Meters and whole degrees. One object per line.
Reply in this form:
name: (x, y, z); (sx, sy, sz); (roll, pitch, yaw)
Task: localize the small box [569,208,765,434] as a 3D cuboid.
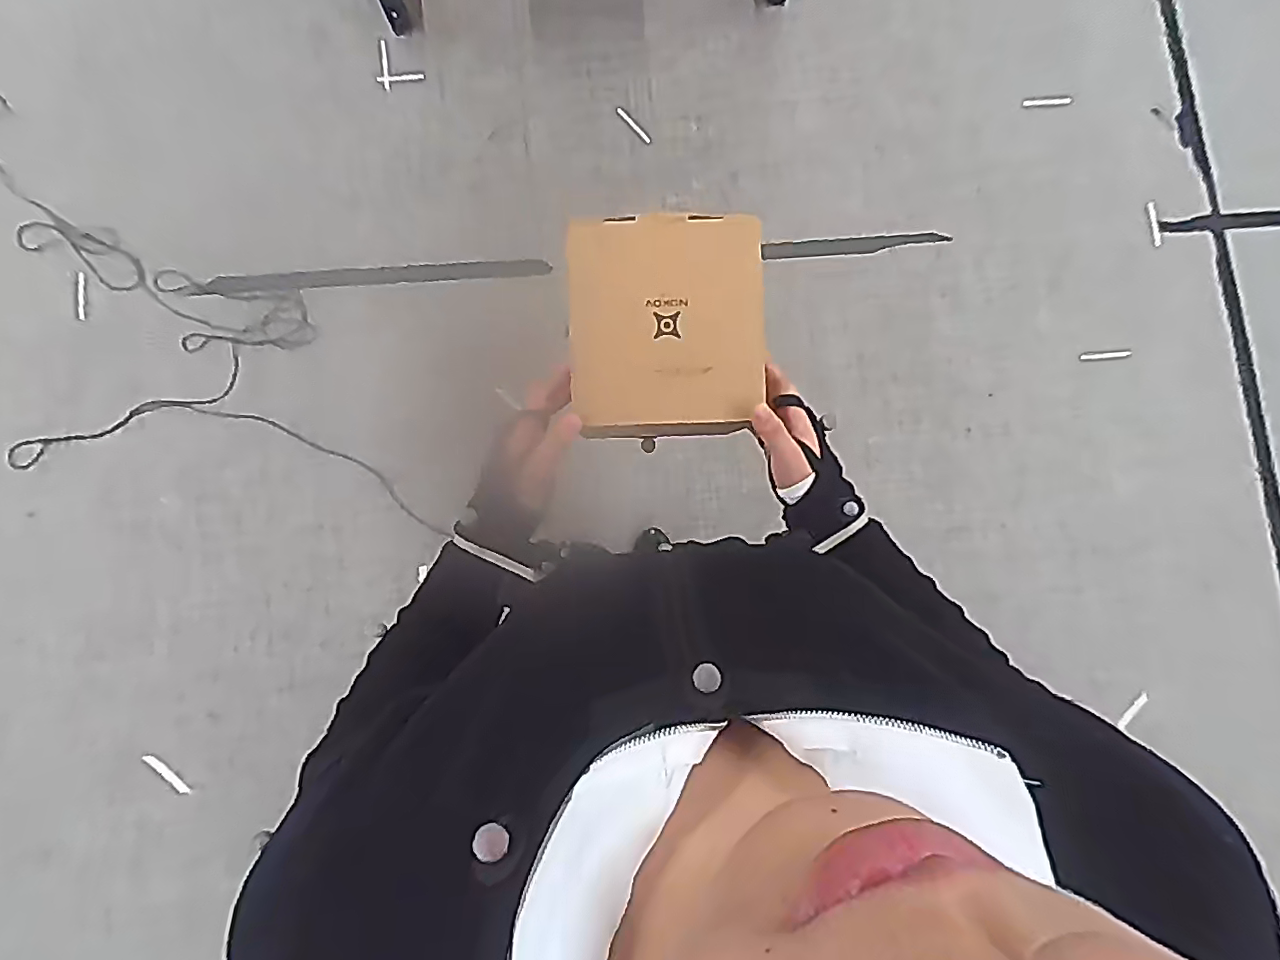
small box: (0.019, -0.141, 0.533); (0.168, 0.176, 0.179); (-2, 91, -2)
